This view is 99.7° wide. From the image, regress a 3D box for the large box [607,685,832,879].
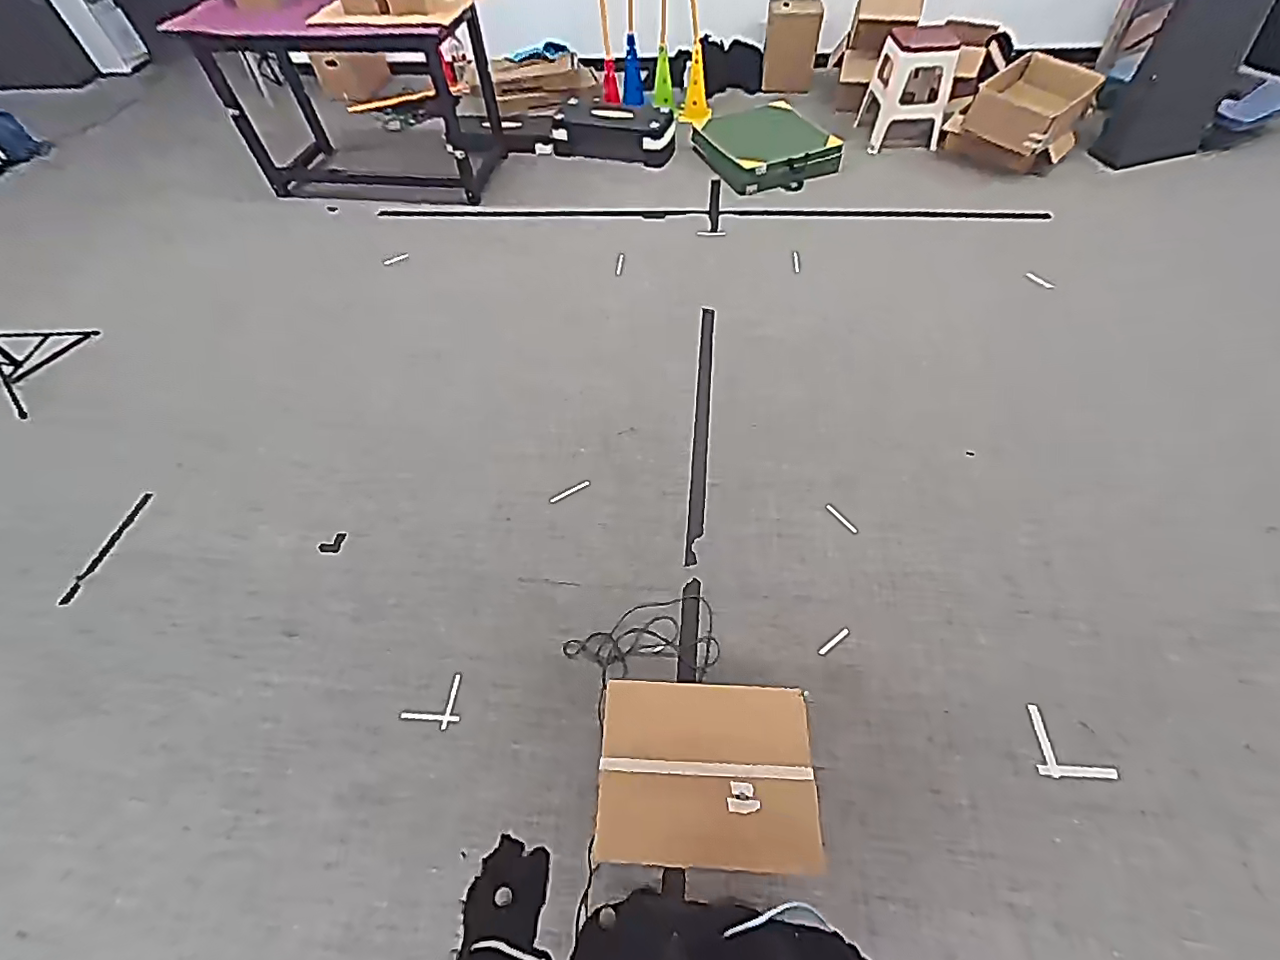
[{"bbox_3d":[0.146,0.647,1.151,0.408,0.320,0.320,2,55,3],"label":"large box"}]
